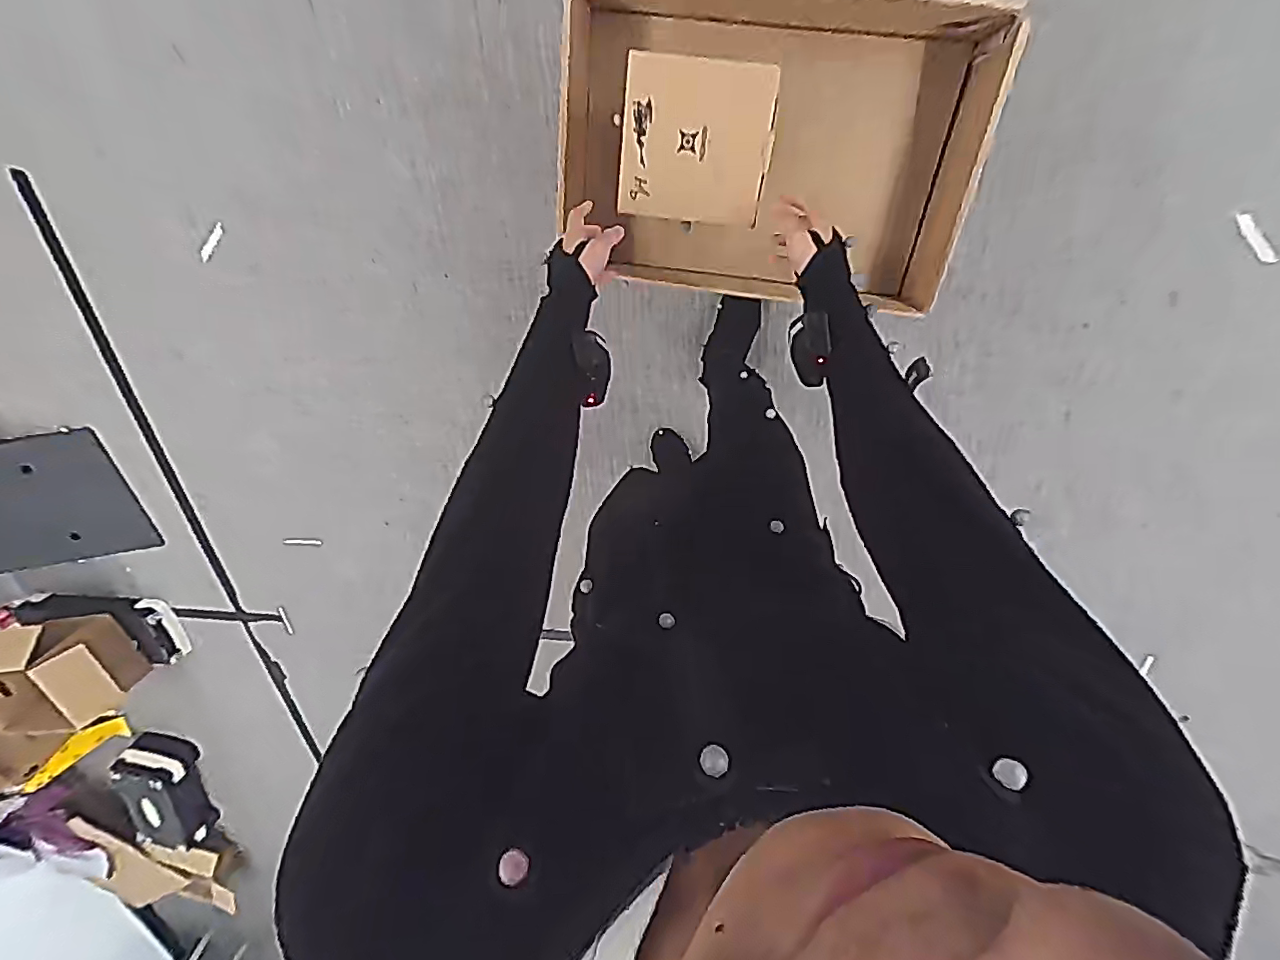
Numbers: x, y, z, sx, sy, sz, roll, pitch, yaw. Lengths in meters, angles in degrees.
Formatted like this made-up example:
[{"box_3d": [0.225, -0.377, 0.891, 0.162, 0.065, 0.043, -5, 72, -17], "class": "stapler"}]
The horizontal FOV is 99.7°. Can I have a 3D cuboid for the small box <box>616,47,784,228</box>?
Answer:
[{"box_3d": [0.071, -0.434, 0.705, 0.179, 0.176, 0.168, 8, 117, 1], "class": "small box"}]
